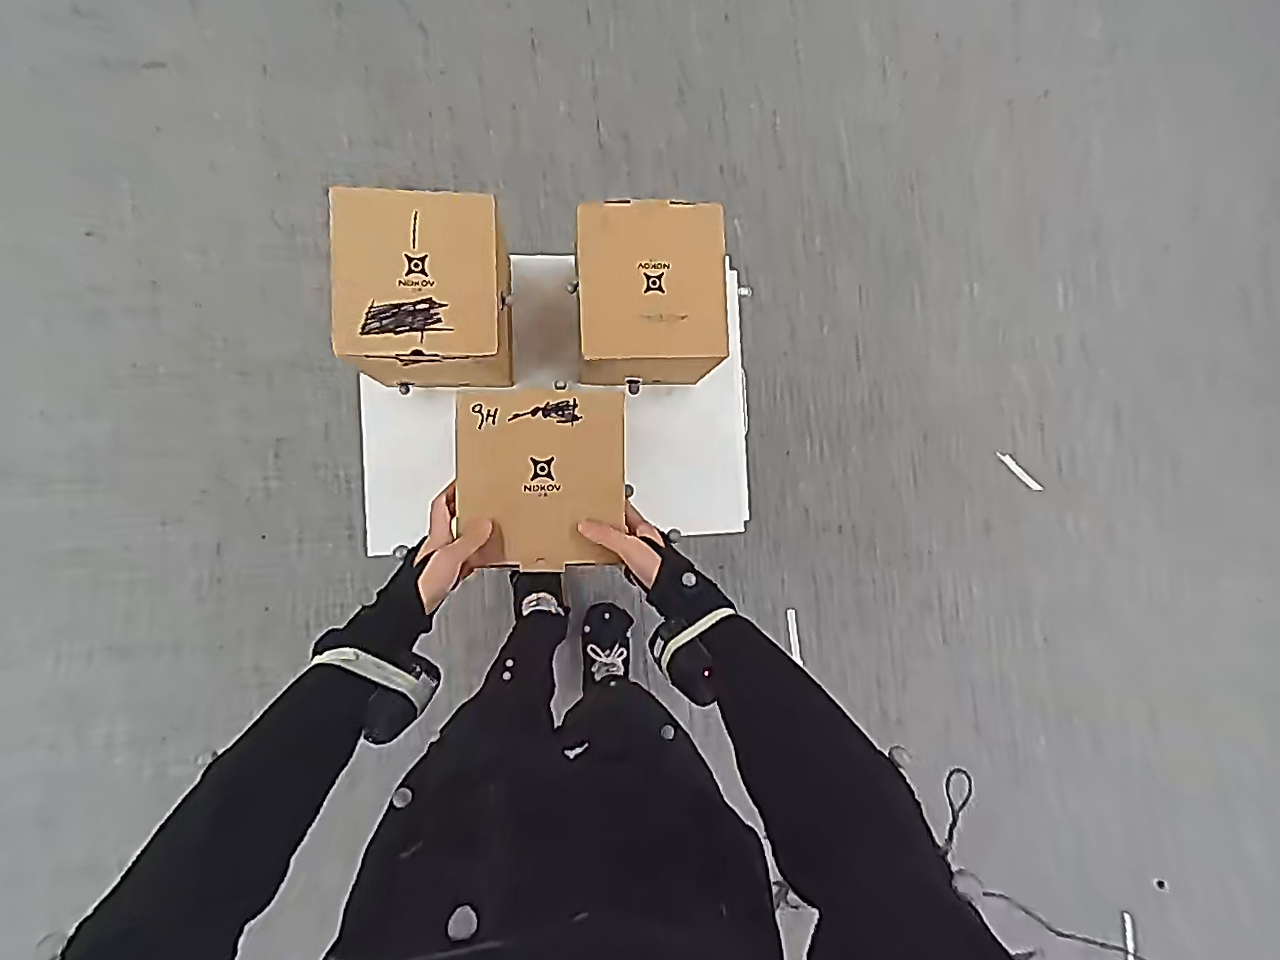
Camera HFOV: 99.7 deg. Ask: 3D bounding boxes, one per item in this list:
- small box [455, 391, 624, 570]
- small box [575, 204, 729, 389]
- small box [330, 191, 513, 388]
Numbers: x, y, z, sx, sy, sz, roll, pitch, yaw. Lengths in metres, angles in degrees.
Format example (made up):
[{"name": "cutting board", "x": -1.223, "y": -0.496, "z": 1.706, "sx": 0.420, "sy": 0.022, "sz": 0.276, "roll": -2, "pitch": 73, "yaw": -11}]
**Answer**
[{"name": "small box", "x": -0.102, "y": -0.001, "z": 0.609, "sx": 0.168, "sy": 0.176, "sz": 0.179, "roll": -1, "pitch": 90, "yaw": -5}, {"name": "small box", "x": 0.005, "y": -0.215, "z": 0.673, "sx": 0.168, "sy": 0.176, "sz": 0.179, "roll": -3, "pitch": 91, "yaw": -7}, {"name": "small box", "x": -0.242, "y": -0.207, "z": 0.636, "sx": 0.168, "sy": 0.176, "sz": 0.179, "roll": -2, "pitch": 89, "yaw": -8}]
